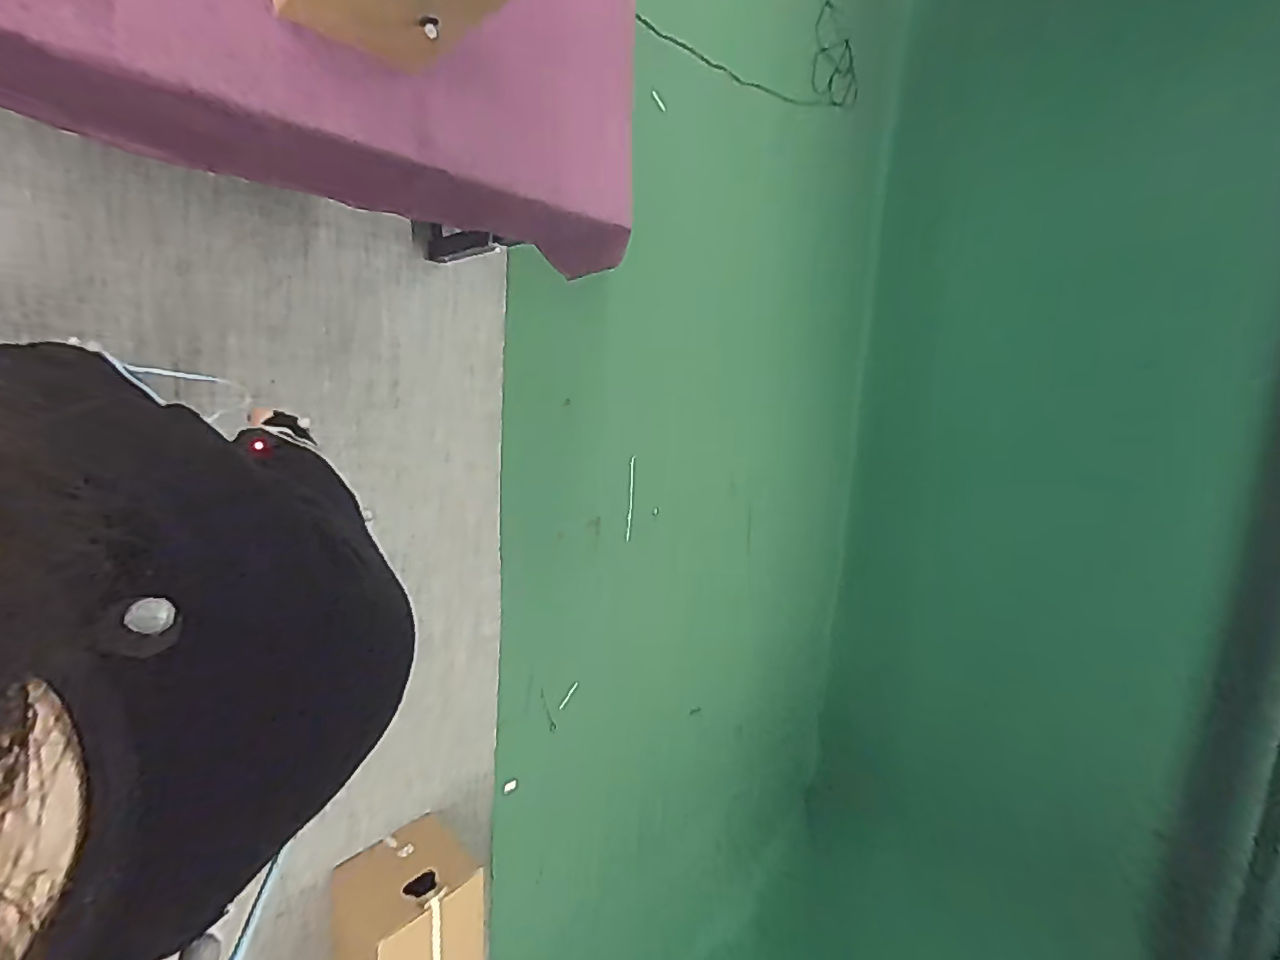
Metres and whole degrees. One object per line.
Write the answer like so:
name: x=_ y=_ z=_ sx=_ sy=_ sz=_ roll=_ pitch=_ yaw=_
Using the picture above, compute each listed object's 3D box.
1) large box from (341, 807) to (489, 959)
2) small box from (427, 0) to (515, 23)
large box: x=-0.676 y=1.320 z=1.637 sx=0.320 sy=0.320 sz=0.408 roll=-9 pitch=106 yaw=-48
small box: x=-0.186 y=-0.606 z=0.523 sx=0.168 sy=0.176 sz=0.179 roll=-12 pitch=107 yaw=-46
